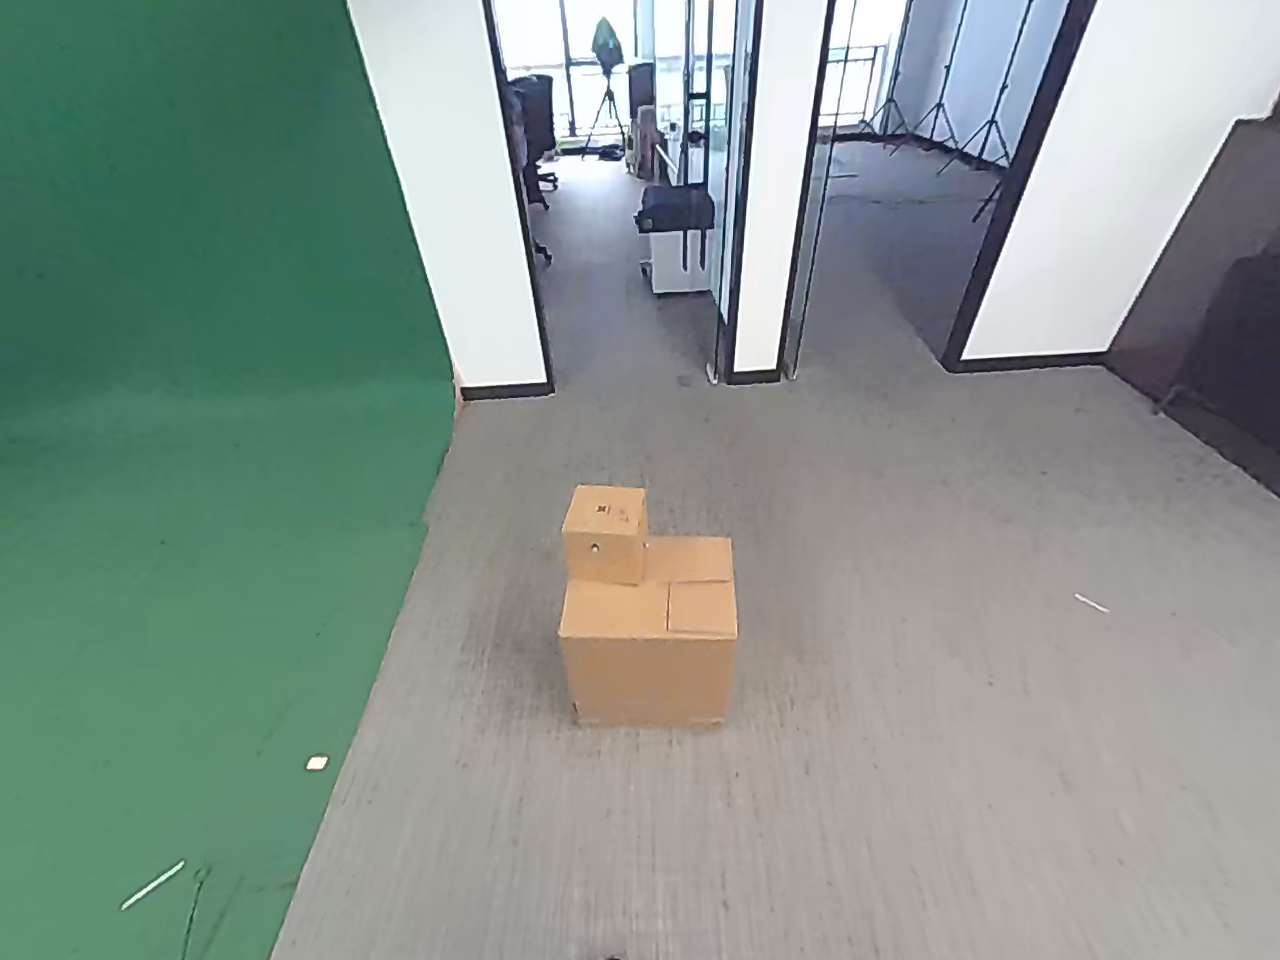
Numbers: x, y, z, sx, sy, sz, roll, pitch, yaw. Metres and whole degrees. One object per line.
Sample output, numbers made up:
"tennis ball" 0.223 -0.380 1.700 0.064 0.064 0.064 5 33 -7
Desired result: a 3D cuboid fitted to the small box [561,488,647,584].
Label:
"small box" -0.081 0.138 1.324 0.179 0.176 0.168 4 40 7
